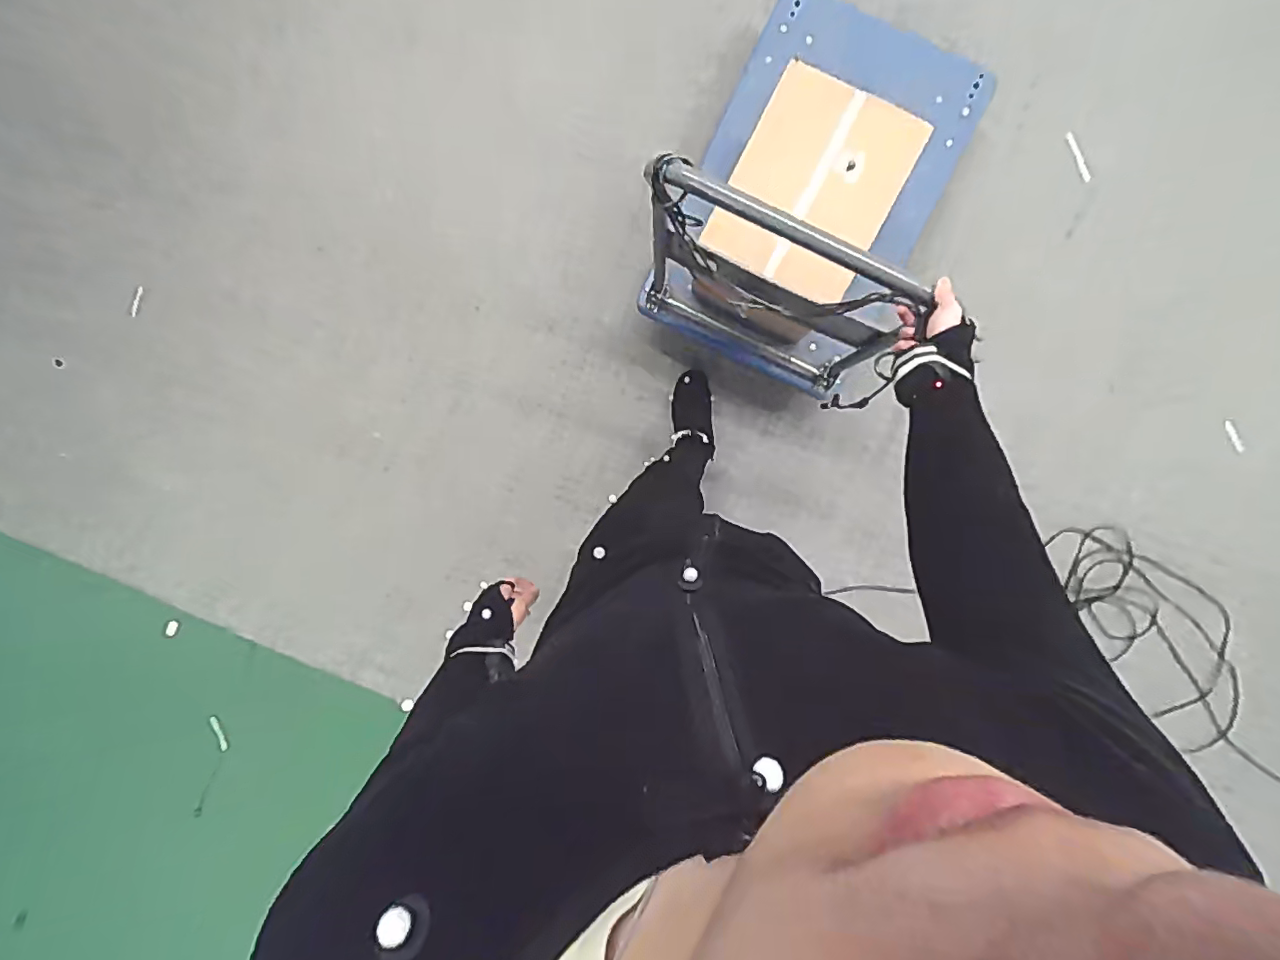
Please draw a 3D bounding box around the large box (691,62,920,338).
[{"bbox_3d":[0.340,-0.595,1.231,0.320,0.320,0.408,28,94,1],"label":"large box"}]
